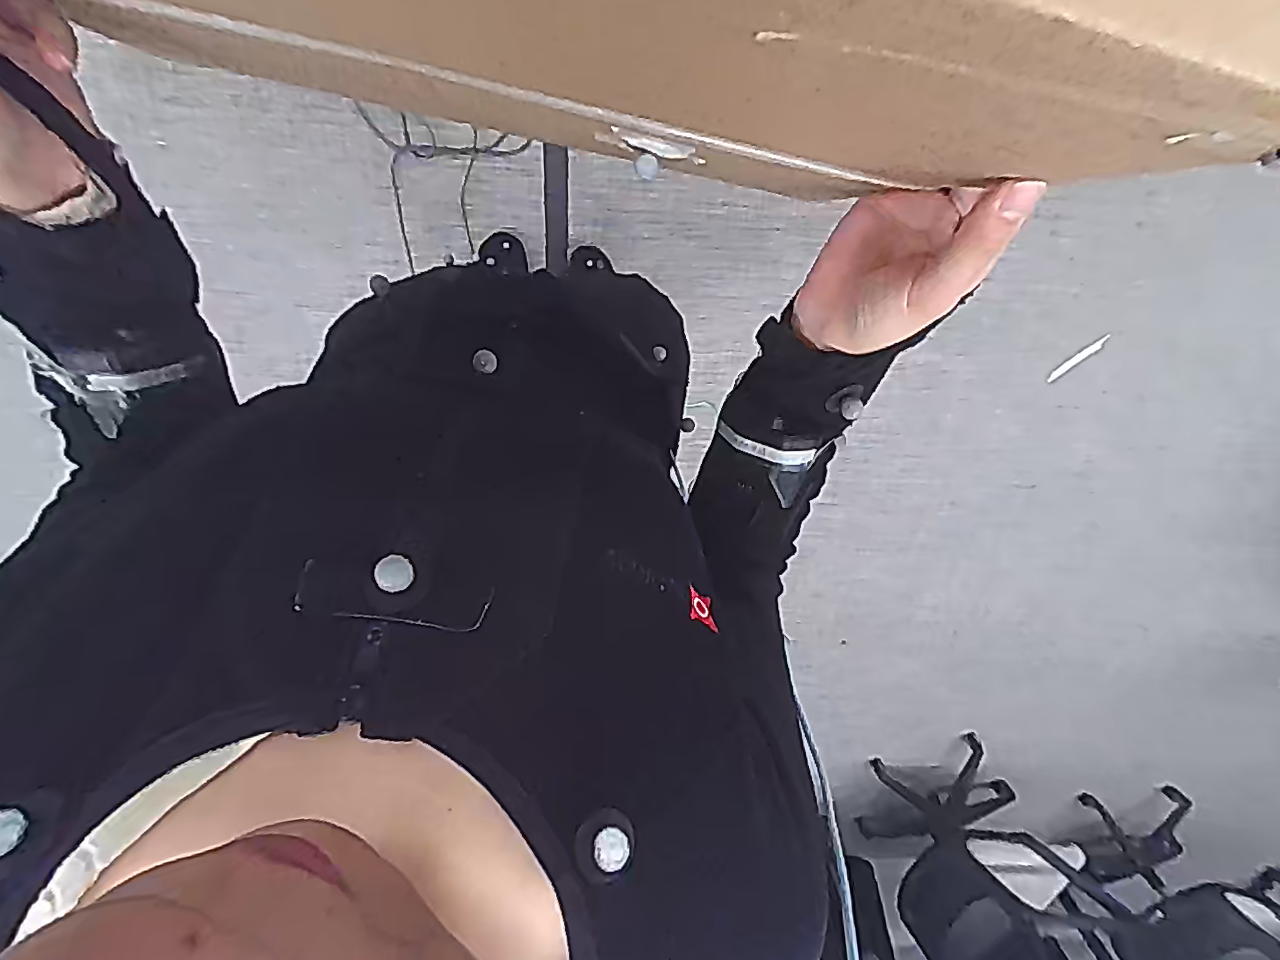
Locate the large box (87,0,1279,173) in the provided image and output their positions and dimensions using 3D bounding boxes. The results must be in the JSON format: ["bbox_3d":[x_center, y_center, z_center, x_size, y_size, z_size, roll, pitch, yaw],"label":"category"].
[{"bbox_3d":[-0.025,-0.302,0.139,0.408,0.320,0.320,5,116,-12],"label":"large box"}]
